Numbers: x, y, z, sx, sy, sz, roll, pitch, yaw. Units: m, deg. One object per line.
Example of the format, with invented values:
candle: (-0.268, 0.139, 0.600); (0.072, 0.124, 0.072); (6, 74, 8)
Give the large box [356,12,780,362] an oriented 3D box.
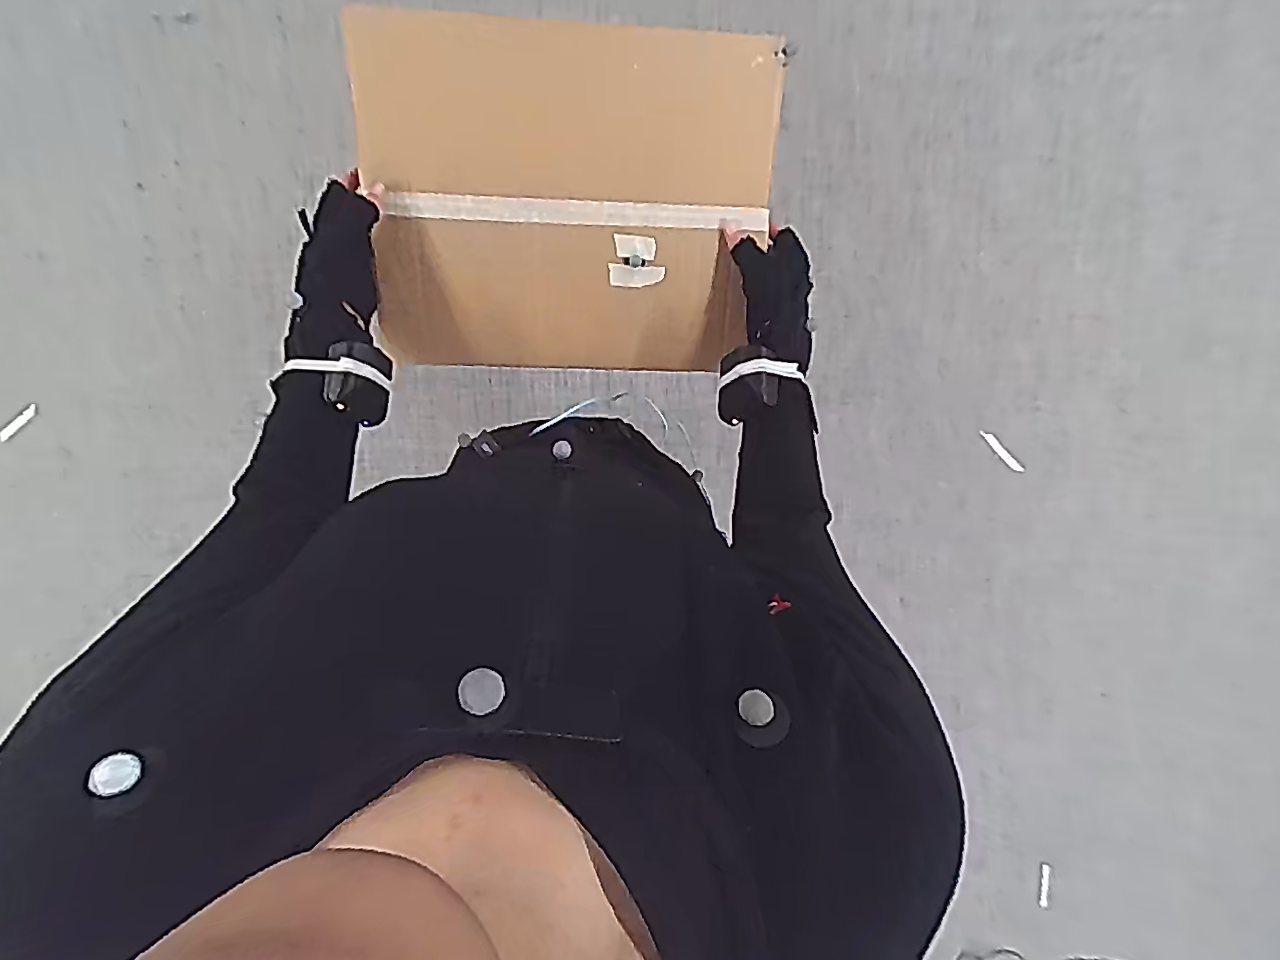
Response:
large box: (-0.078, -0.329, 0.694); (0.408, 0.320, 0.320); (1, 111, -5)
